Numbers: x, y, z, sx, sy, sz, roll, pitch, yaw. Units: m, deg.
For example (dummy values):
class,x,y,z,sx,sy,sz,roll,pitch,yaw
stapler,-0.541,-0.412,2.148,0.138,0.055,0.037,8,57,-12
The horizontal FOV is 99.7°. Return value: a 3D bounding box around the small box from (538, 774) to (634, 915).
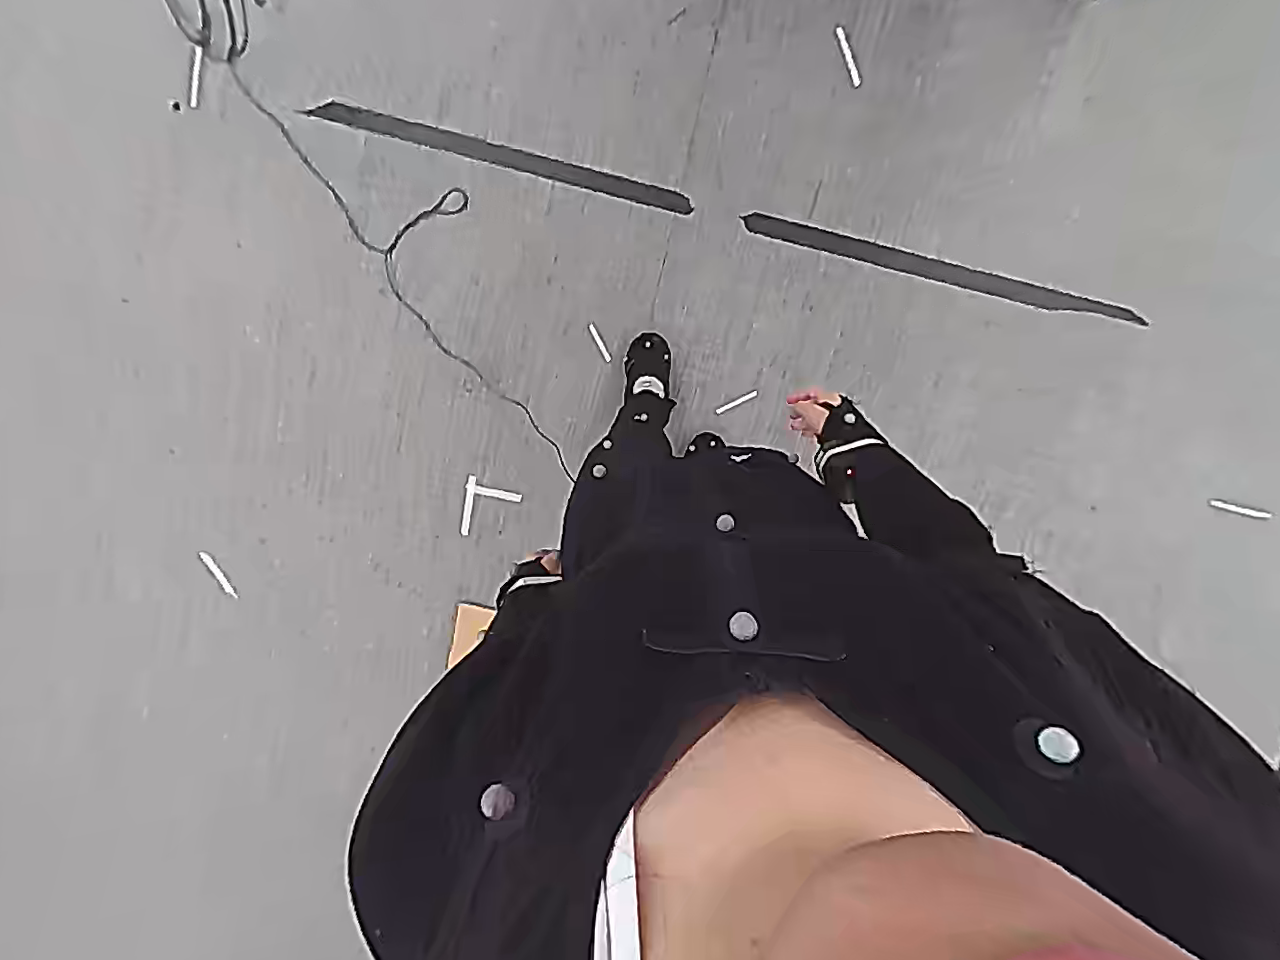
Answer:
class,x,y,z,sx,sy,sz,roll,pitch,yaw
small box,-0.113,0.800,1.201,0.168,0.176,0.179,14,99,1
